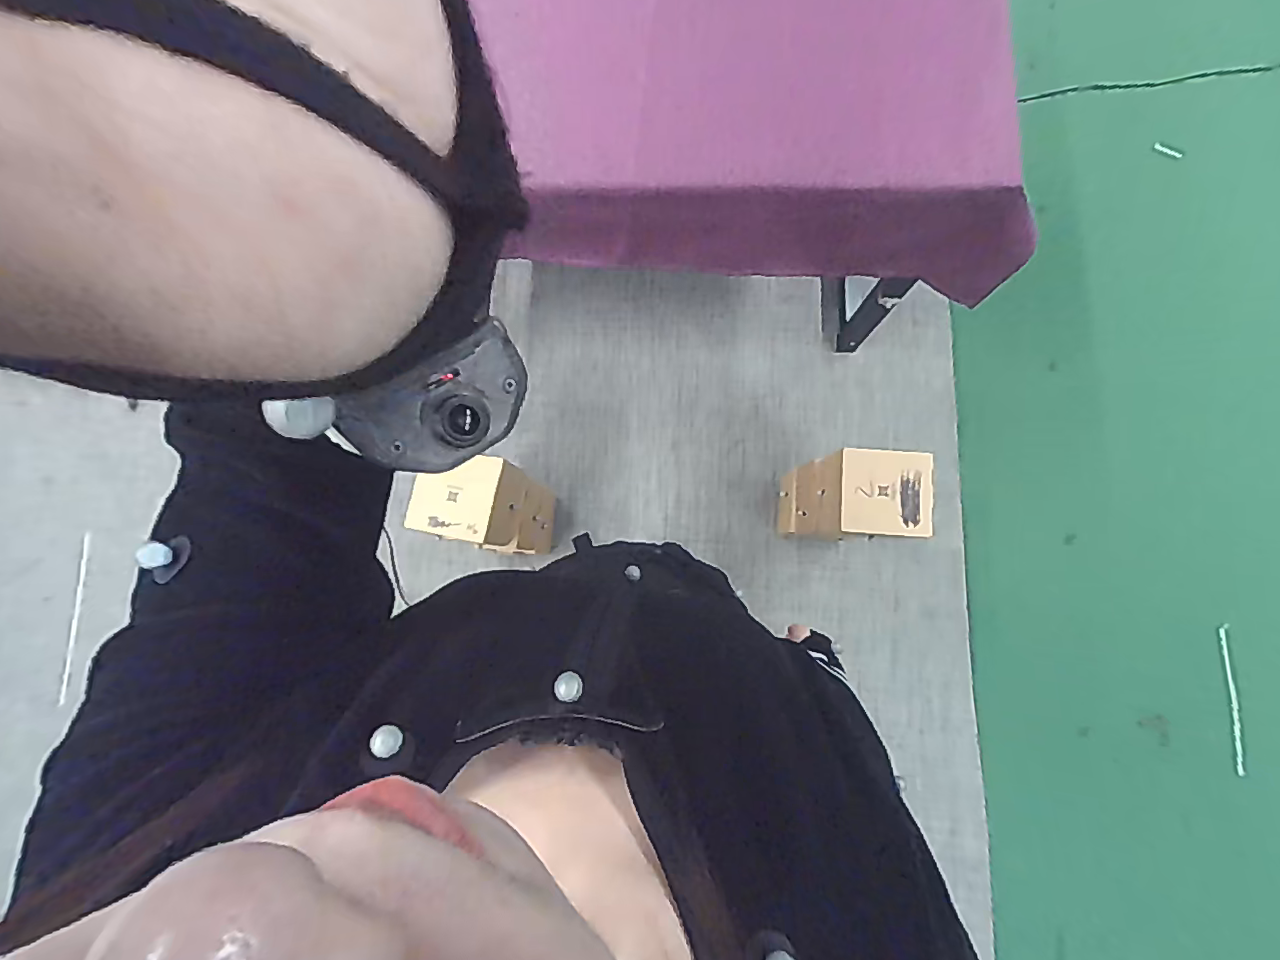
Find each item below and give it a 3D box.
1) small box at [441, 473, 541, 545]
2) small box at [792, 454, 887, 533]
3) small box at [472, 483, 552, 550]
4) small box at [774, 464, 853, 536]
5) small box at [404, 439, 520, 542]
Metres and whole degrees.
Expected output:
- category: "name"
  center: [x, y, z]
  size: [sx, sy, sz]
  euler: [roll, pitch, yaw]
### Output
- category: "small box"
  center: [-0.353, 0.065, 1.308]
  size: [0.179, 0.176, 0.168]
  euler: [8, 83, 2]
- category: "small box"
  center: [0.468, 0.038, 1.290]
  size: [0.179, 0.176, 0.168]
  euler: [3, 83, 1]
- category: "small box"
  center: [-0.341, 0.097, 1.470]
  size: [0.168, 0.176, 0.179]
  euler: [5, 81, 2]
- category: "small box"
  center: [0.464, 0.058, 1.451]
  size: [0.179, 0.176, 0.168]
  euler: [6, 82, 2]
- category: "small box"
  center: [-0.365, 0.029, 1.148]
  size: [0.168, 0.176, 0.179]
  euler: [12, 82, 4]
